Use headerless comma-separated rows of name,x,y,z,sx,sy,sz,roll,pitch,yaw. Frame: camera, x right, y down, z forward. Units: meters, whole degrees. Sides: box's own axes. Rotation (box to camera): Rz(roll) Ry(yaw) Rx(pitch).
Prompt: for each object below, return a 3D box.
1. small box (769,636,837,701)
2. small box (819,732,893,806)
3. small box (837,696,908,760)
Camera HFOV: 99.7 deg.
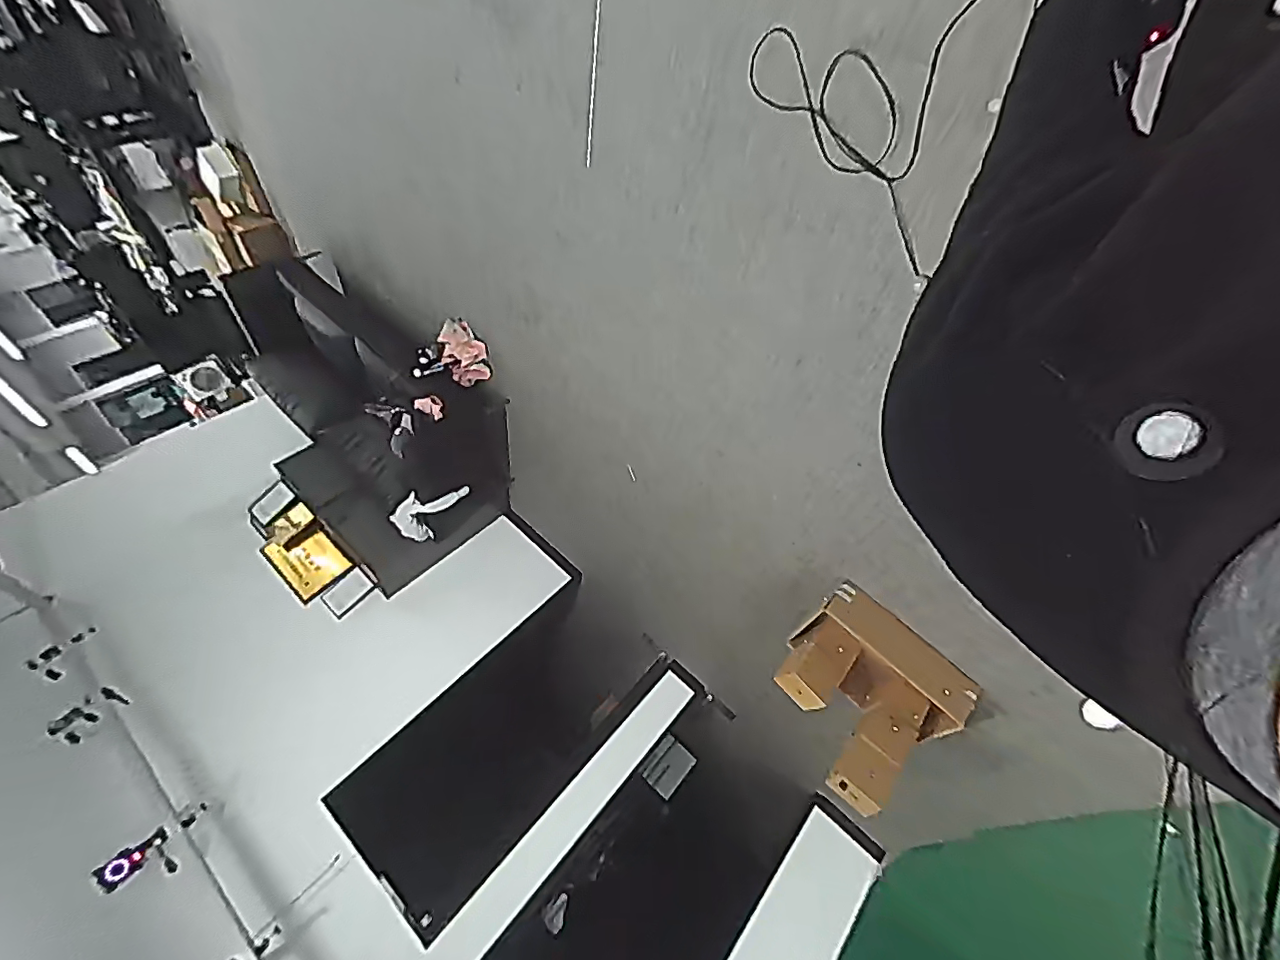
small box,0.673,0.774,2.218,0.179,0.176,0.168,46,147,7
small box,0.815,1.083,2.041,0.179,0.176,0.168,35,145,20
small box,0.918,0.987,2.127,0.168,0.176,0.179,38,145,18
